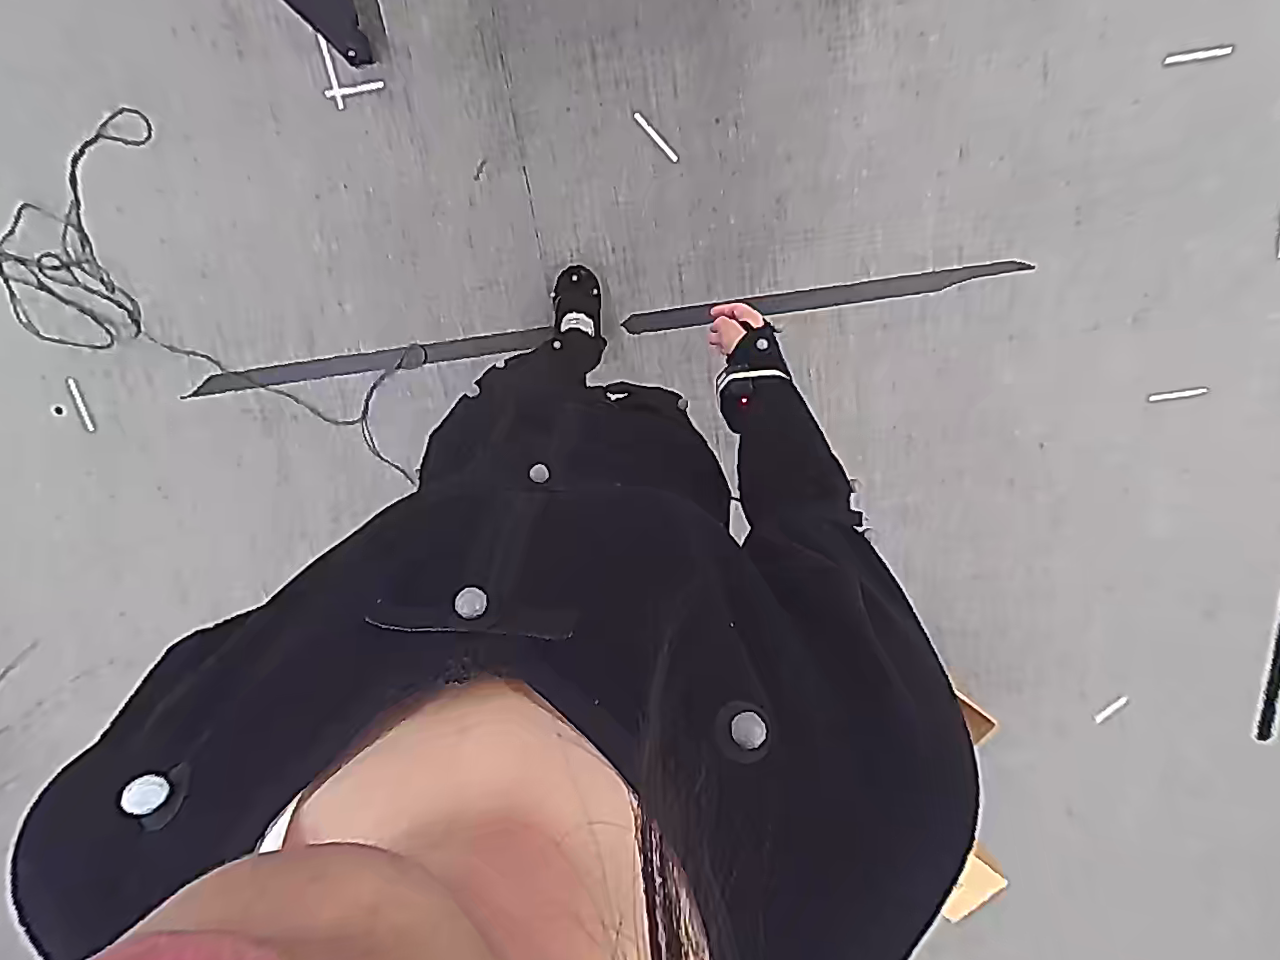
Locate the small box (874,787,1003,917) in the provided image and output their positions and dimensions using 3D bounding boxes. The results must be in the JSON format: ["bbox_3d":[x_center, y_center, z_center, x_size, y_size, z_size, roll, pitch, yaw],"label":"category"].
[{"bbox_3d":[0.712,0.890,1.306,0.179,0.176,0.168,39,102,-12],"label":"small box"}]
